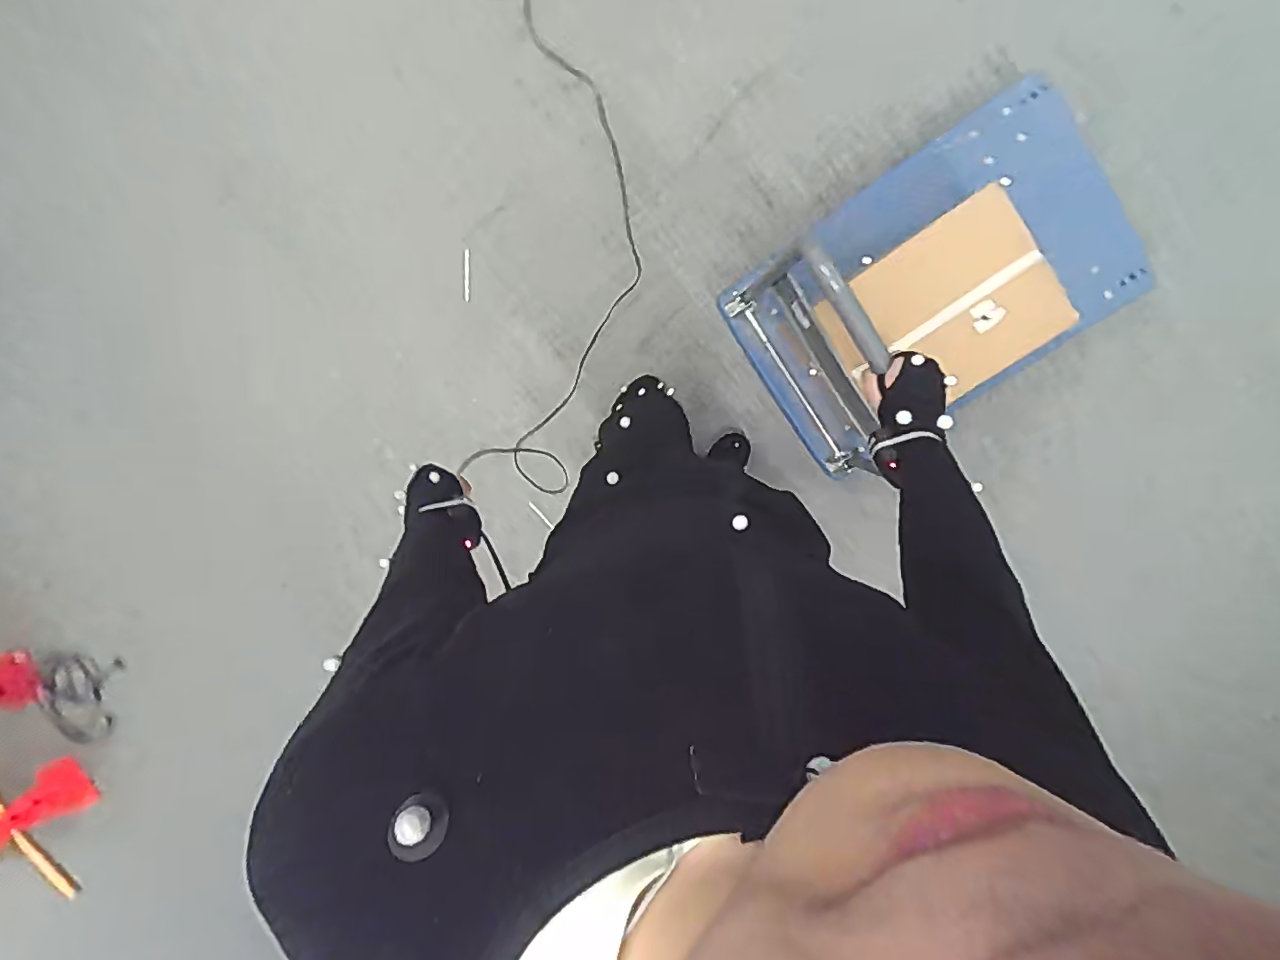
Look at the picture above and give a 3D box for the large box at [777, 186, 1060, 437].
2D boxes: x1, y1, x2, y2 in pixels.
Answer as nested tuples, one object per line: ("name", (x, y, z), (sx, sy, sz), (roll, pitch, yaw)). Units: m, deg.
("large box", (0.577, -0.344, 1.205), (0.408, 0.320, 0.320), (-35, 96, 9))
